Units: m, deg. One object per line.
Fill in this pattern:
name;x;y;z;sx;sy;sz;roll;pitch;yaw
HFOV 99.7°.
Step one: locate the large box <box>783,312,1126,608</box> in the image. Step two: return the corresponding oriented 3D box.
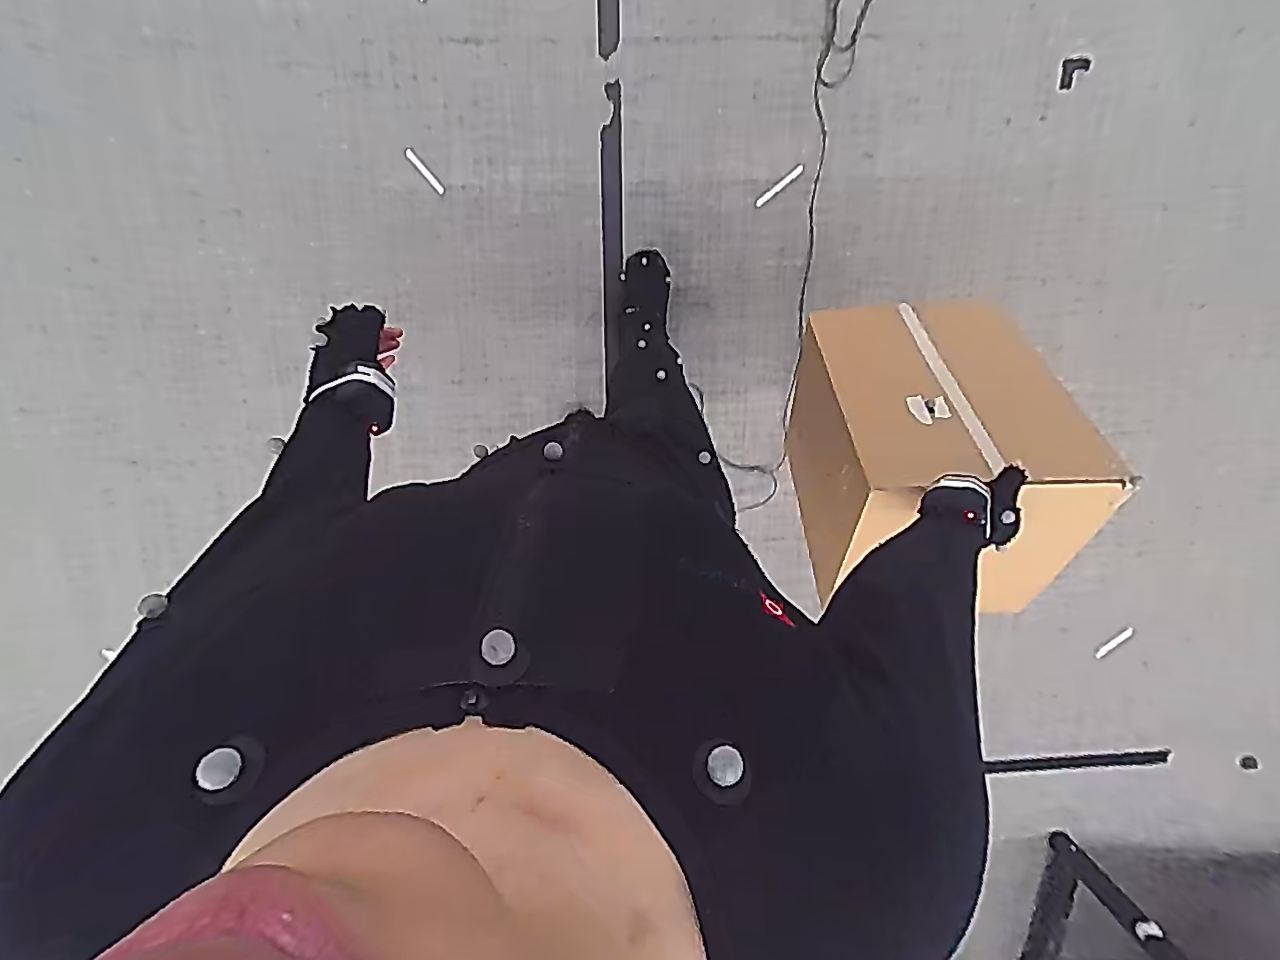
large box;0.450;-0.038;0.908;0.320;0.408;0.320;-2;139;3
